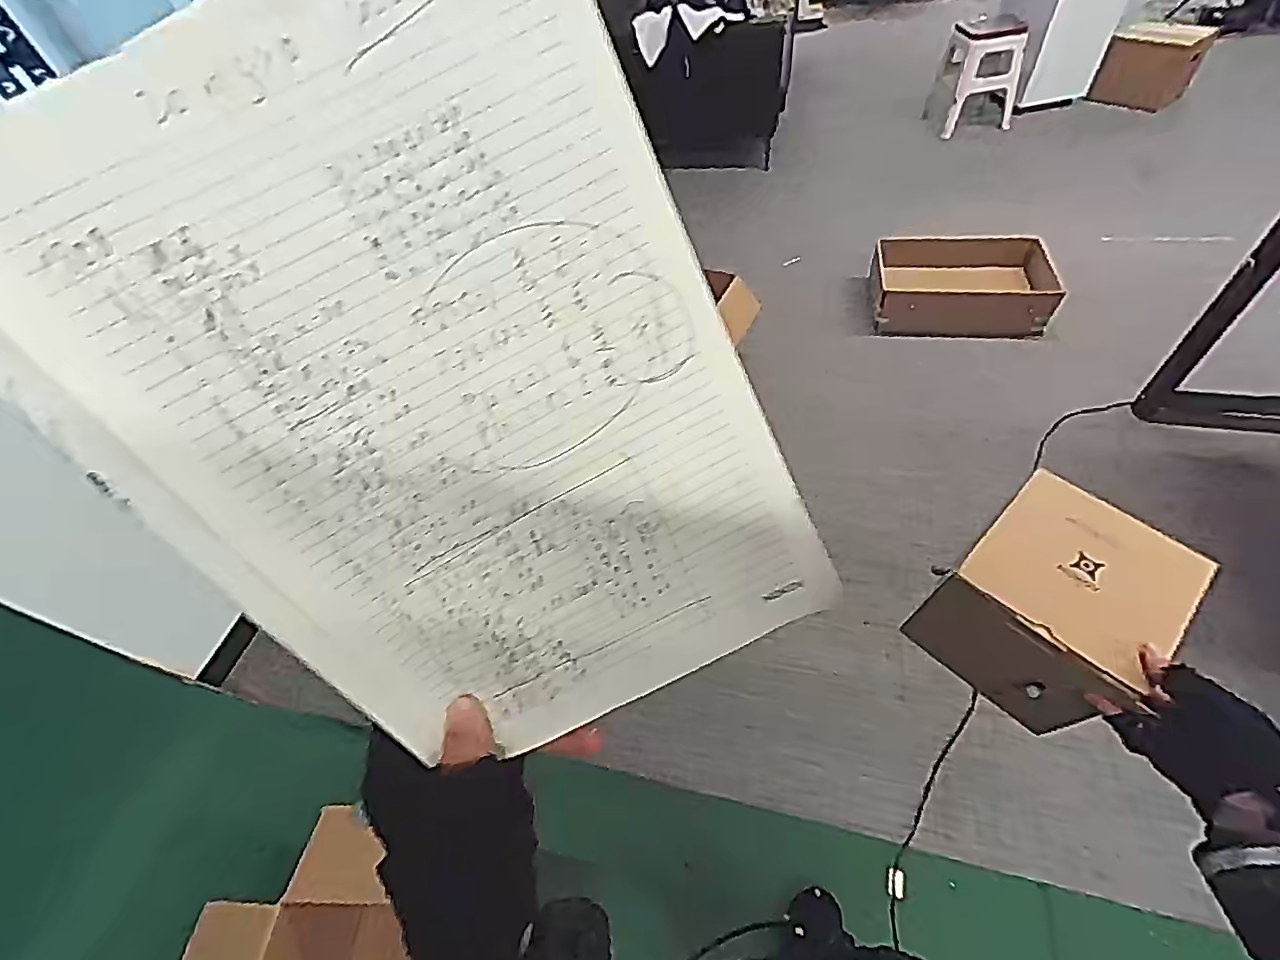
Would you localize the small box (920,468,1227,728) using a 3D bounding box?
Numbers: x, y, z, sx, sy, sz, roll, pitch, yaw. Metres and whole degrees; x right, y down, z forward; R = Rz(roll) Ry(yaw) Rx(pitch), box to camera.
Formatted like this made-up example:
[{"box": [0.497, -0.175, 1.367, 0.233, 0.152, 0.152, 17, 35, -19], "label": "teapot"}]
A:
[{"box": [0.428, 0.129, 0.569, 0.179, 0.176, 0.168, -39, 61, -20], "label": "small box"}]
